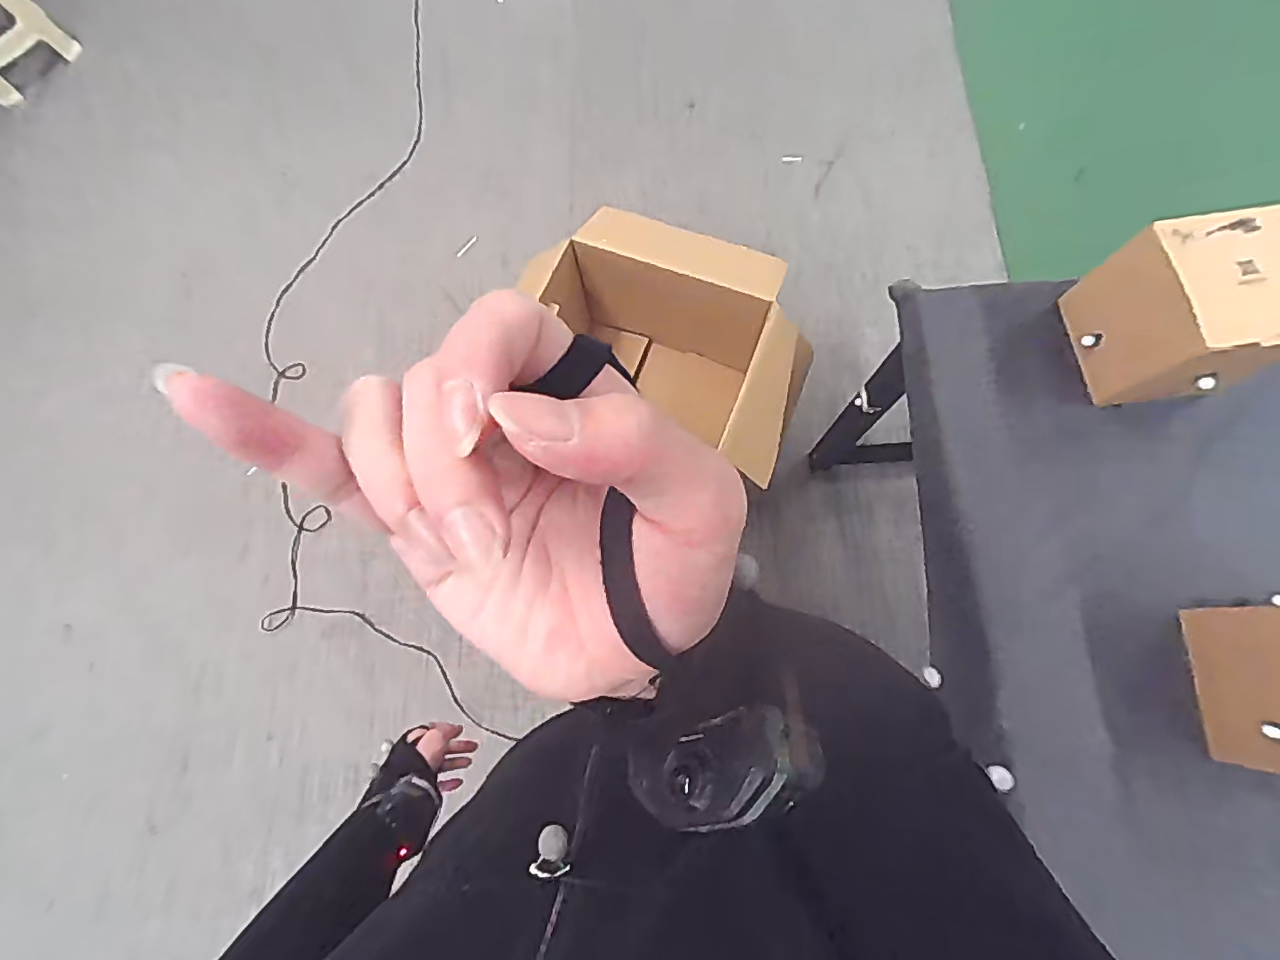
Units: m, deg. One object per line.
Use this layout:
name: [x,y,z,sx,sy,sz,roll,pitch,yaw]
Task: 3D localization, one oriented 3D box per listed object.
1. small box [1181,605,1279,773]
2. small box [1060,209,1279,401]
small box: [0.755,0.229,0.582,0.168,0.176,0.179,1,73,2]
small box: [0.706,-0.214,0.706,0.168,0.176,0.179,-7,75,0]
